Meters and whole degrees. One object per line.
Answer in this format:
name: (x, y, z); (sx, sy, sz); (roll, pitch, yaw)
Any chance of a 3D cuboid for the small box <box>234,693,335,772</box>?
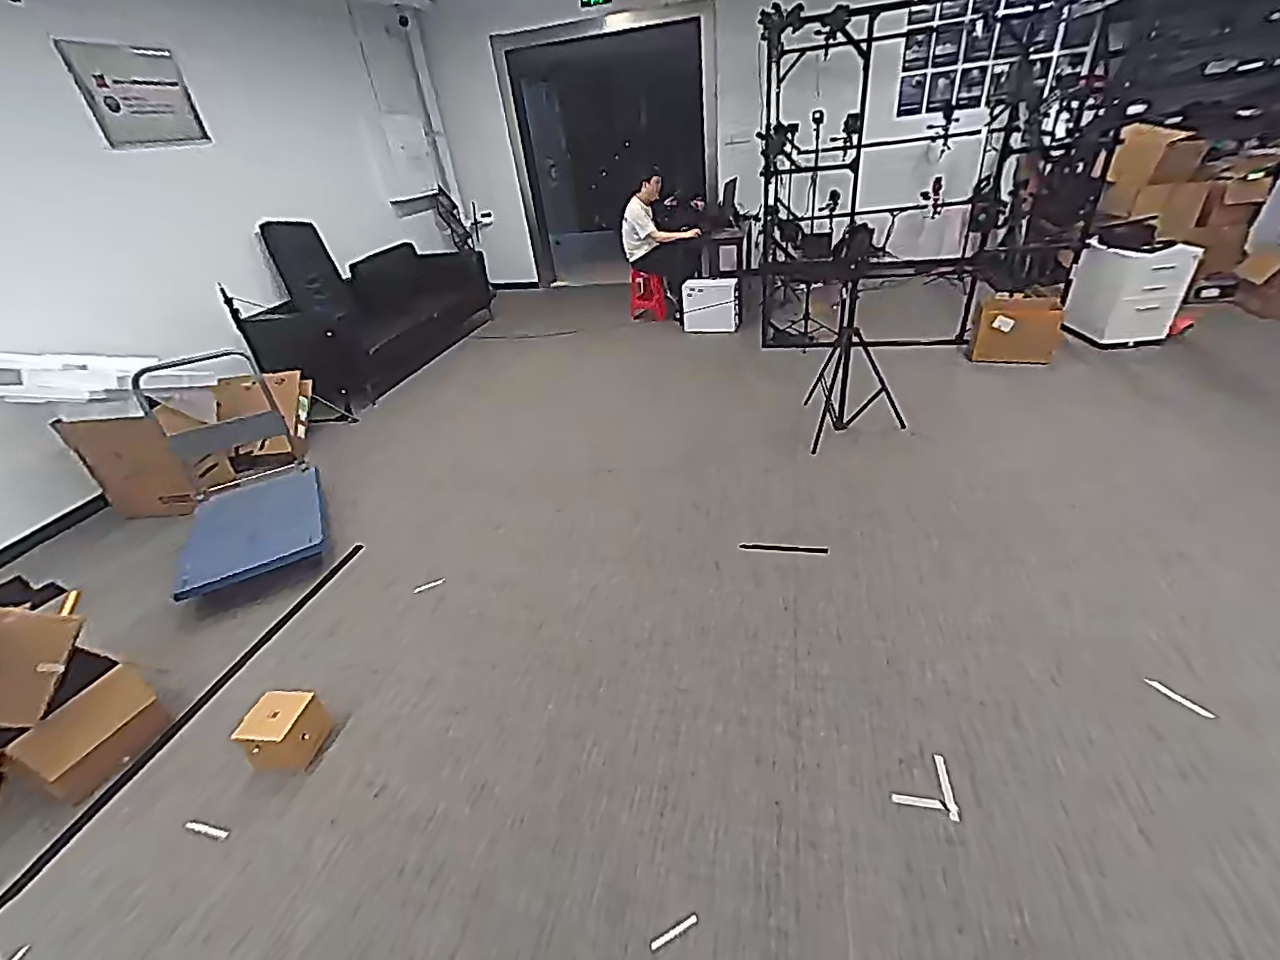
small box: (-1.110, 0.798, 1.706); (0.179, 0.176, 0.168); (-2, 33, 9)
